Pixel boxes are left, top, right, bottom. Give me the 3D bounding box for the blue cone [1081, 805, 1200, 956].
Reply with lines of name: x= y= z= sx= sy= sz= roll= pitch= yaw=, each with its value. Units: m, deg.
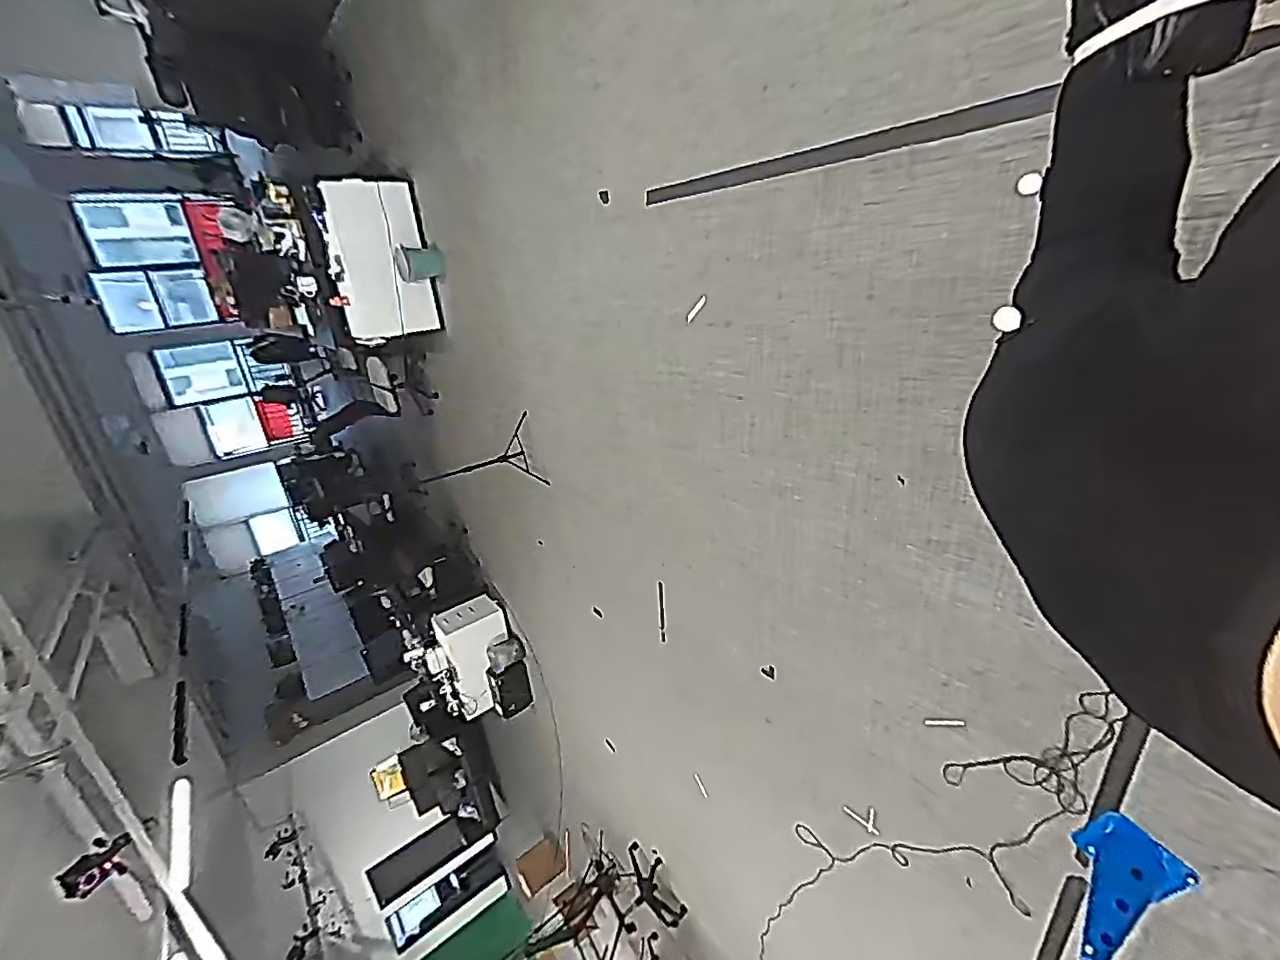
blue cone: x=1.187 y=1.022 z=1.340 sx=0.193 sy=0.380 sz=0.192 roll=42 pitch=138 yaw=34
